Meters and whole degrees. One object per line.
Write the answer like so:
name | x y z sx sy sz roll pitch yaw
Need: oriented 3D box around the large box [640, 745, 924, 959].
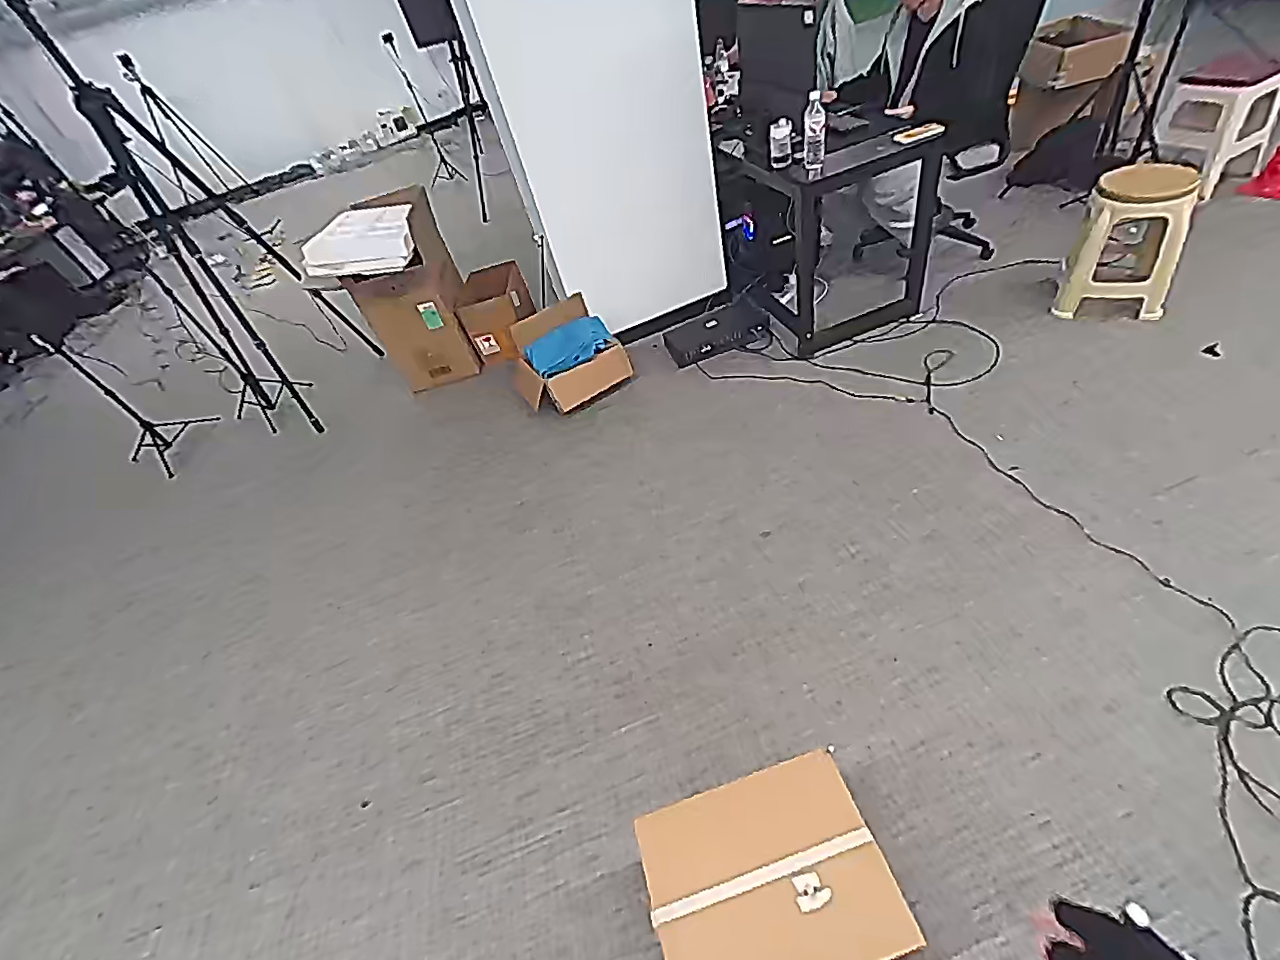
large box | 0.254 0.789 1.046 0.408 0.320 0.320 -20 44 -3
